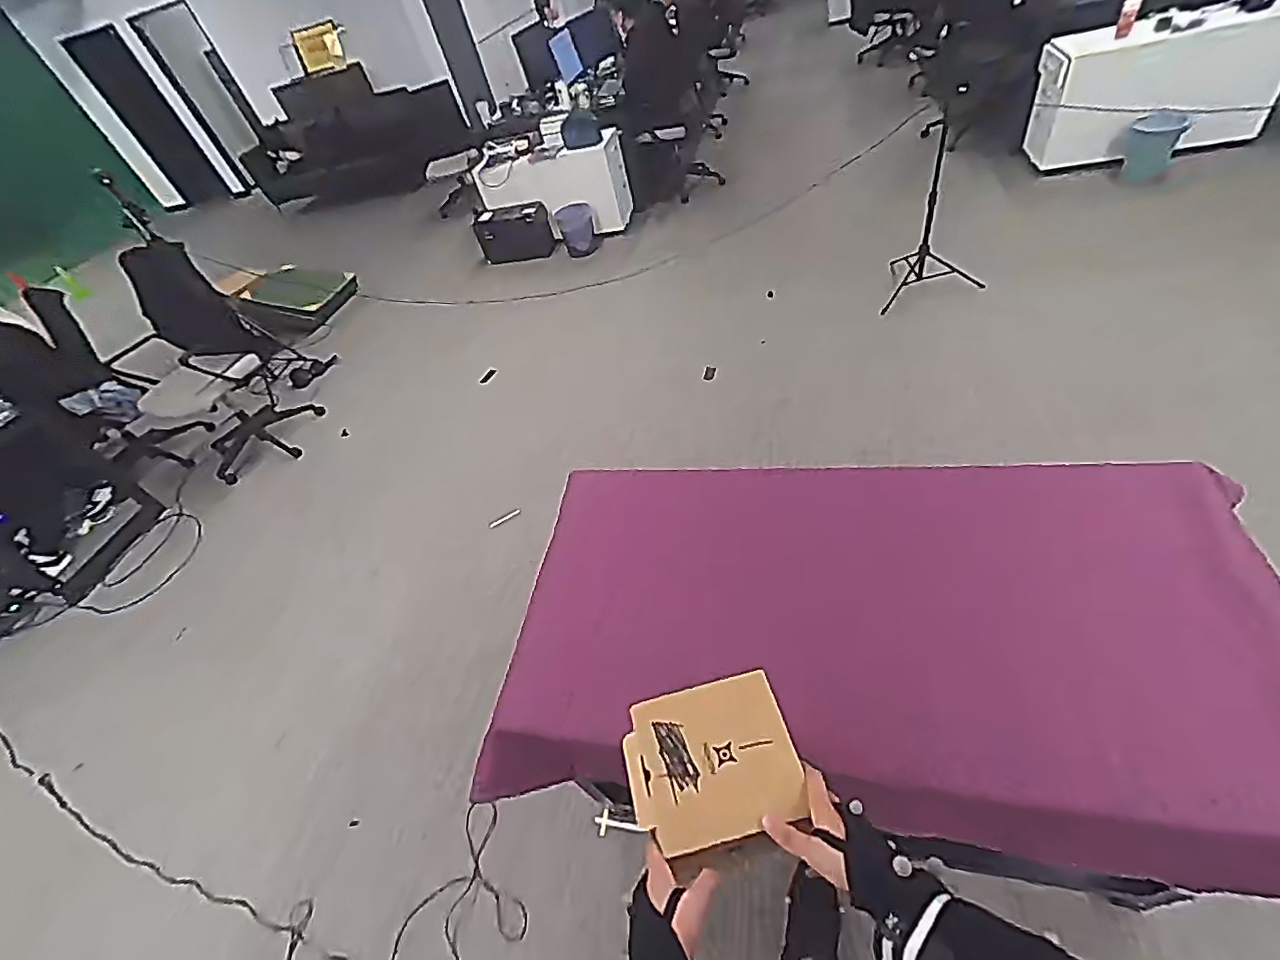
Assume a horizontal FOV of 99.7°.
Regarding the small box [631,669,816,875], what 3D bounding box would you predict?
[{"bbox_3d":[0.099,0.369,0.678,0.179,0.176,0.168,-14,46,-4],"label":"small box"}]
